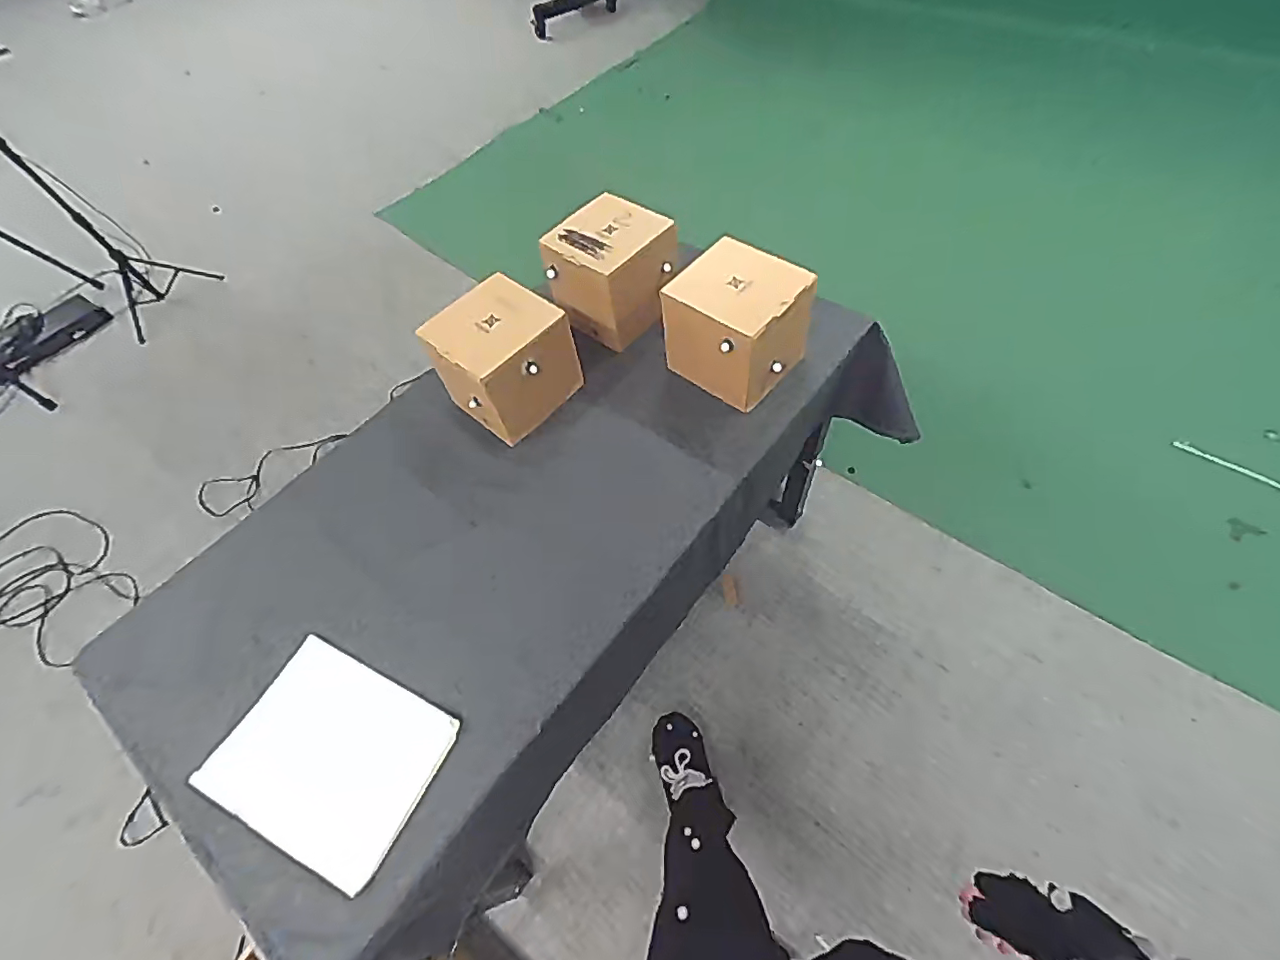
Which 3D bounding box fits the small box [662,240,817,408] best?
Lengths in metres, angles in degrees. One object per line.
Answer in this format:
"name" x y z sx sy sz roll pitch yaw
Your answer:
"small box" 0.155 -0.249 0.878 0.179 0.176 0.168 36 68 25
